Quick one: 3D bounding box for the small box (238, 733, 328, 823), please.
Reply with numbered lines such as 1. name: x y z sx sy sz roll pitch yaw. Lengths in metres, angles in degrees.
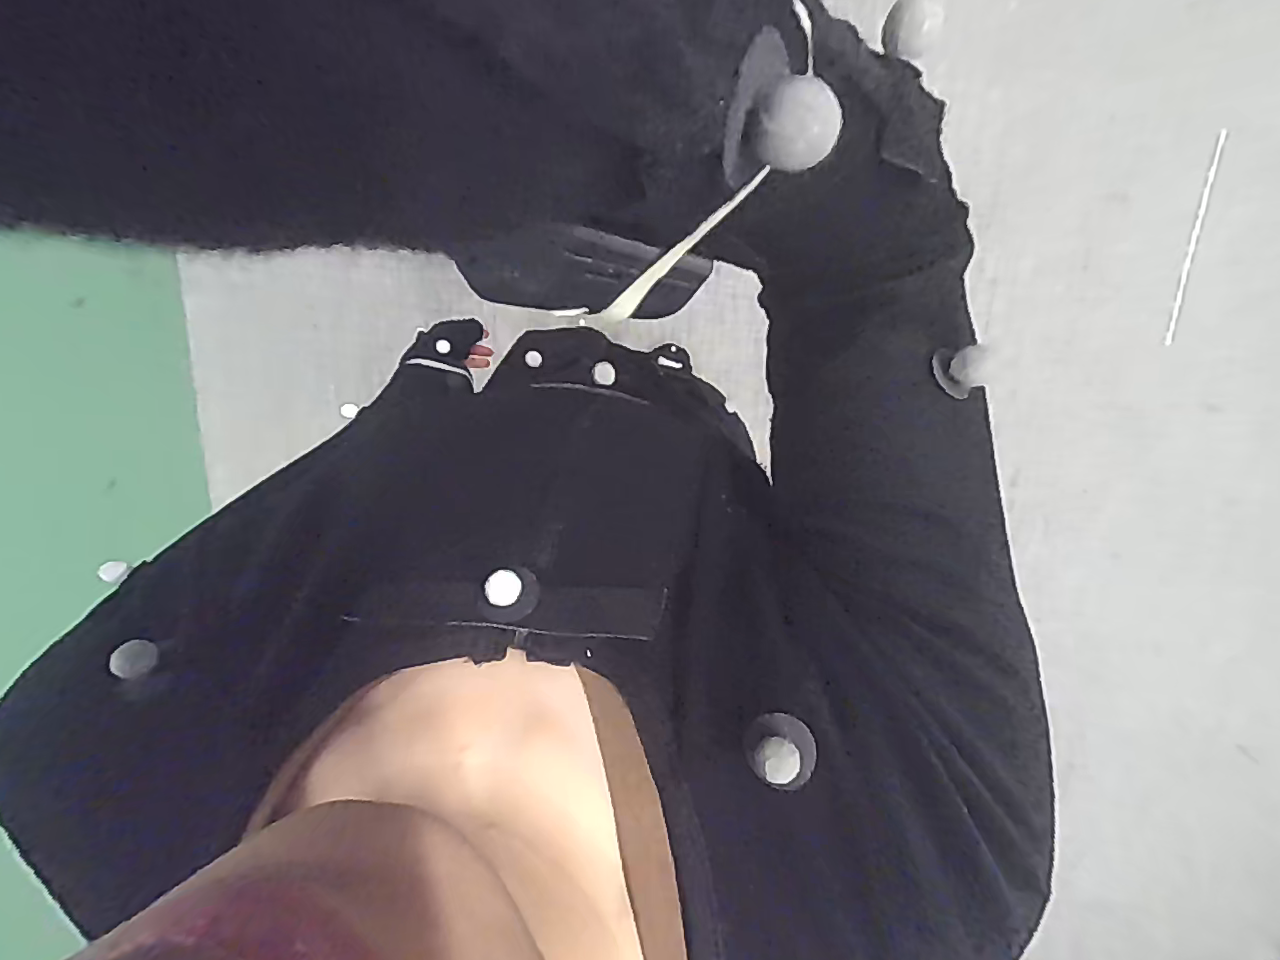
1. small box: -1.093 0.911 1.667 0.168 0.176 0.179 5 105 1
